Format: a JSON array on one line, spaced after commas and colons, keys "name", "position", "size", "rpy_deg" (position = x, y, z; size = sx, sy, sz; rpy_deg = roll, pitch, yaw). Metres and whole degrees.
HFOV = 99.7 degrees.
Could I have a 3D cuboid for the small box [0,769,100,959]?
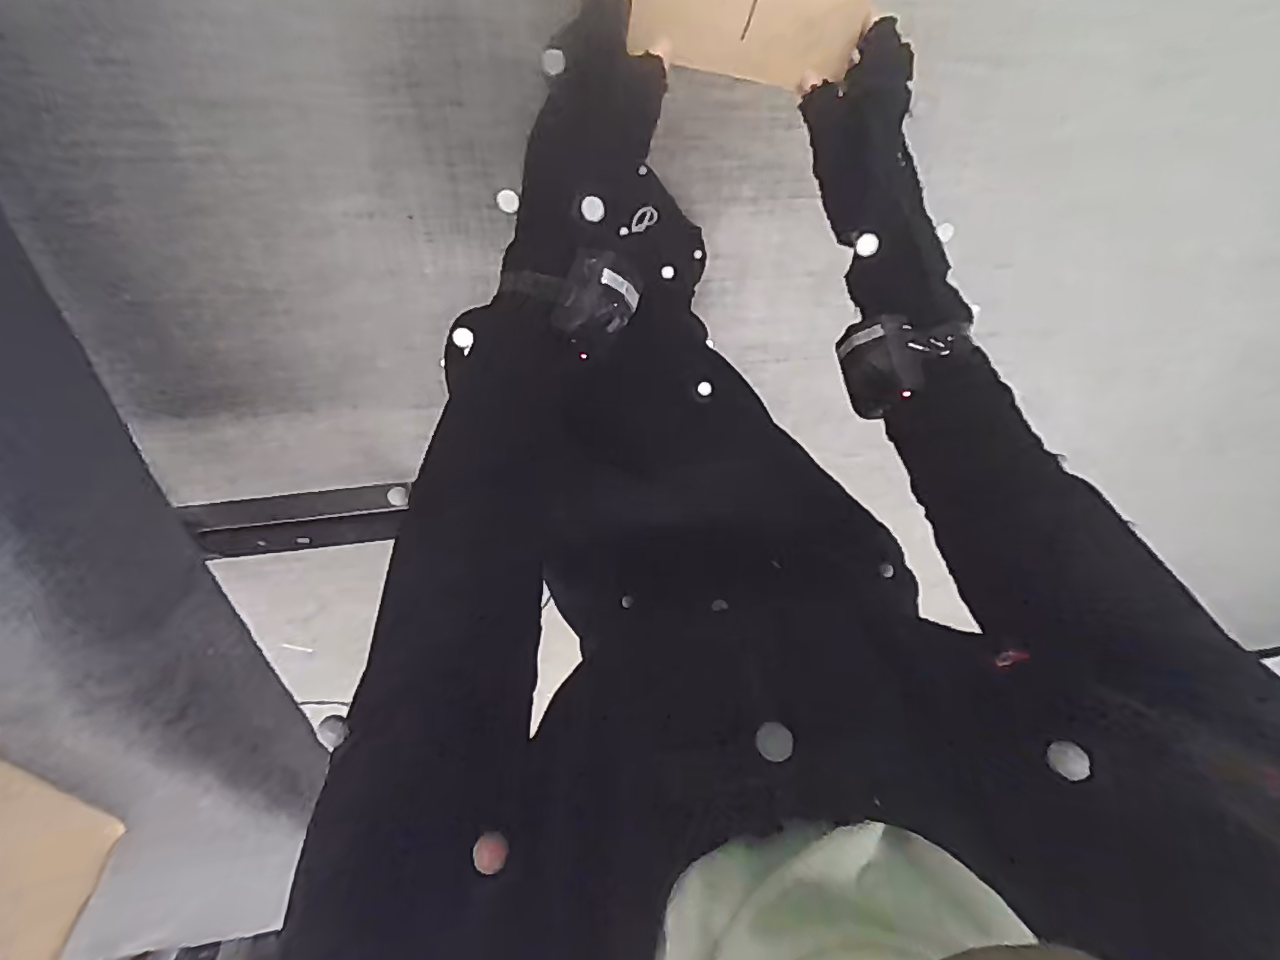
[{"name": "small box", "position": [-0.467, 0.263, 0.290], "size": [0.168, 0.176, 0.179], "rpy_deg": [-2, 134, -9]}]
